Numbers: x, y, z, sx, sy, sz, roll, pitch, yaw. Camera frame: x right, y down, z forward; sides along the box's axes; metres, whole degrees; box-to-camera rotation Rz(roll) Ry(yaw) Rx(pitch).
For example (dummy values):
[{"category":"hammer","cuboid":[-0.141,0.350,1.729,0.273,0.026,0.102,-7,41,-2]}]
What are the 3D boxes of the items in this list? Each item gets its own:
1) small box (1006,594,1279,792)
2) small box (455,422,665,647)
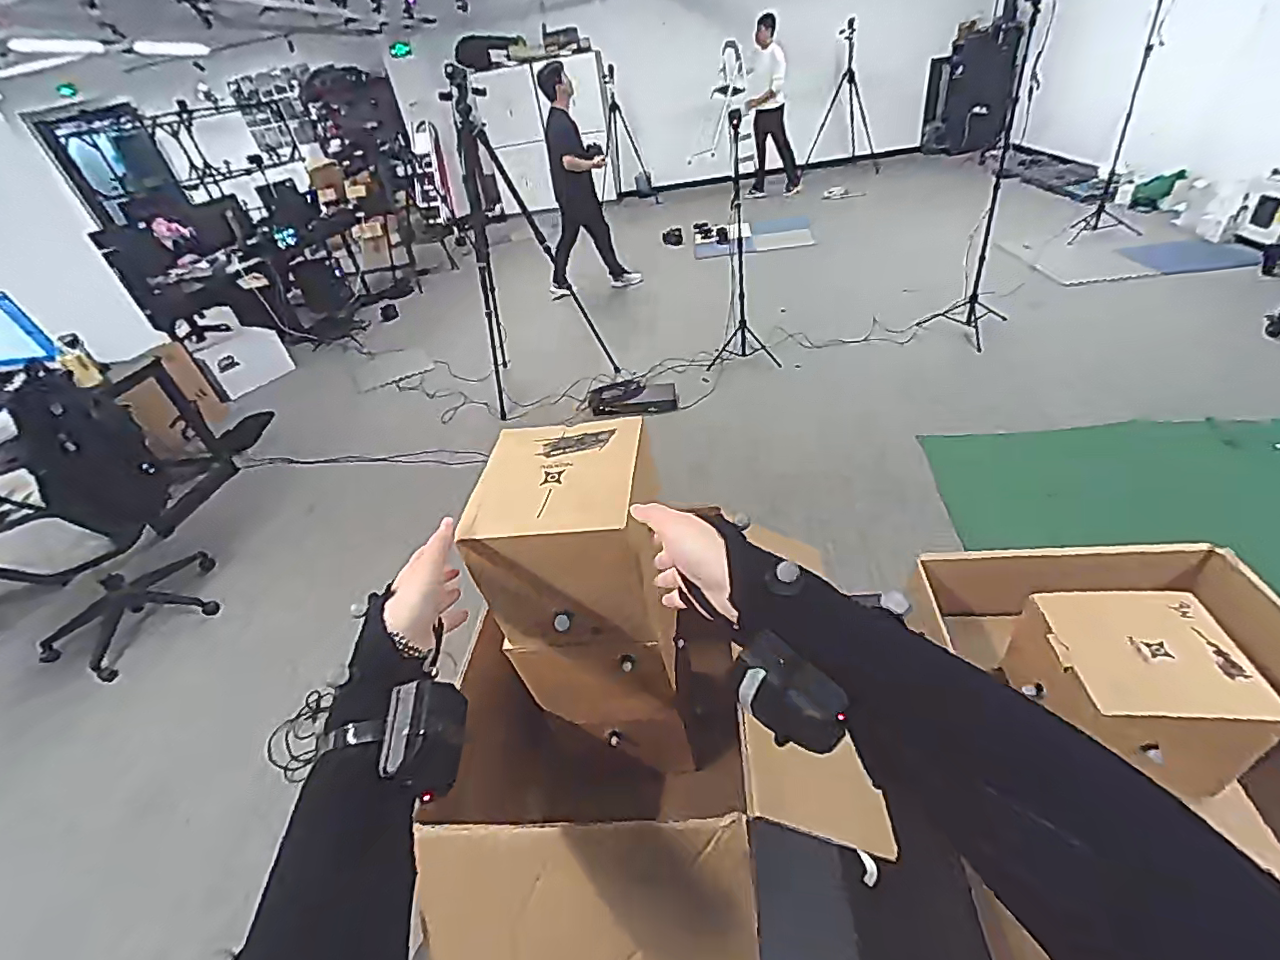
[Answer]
[{"category":"small box","cuboid":[0.578,0.258,0.660,0.179,0.176,0.168,-4,39,12]},{"category":"small box","cuboid":[-0.068,0.059,0.587,0.168,0.176,0.179,-4,41,11]}]
